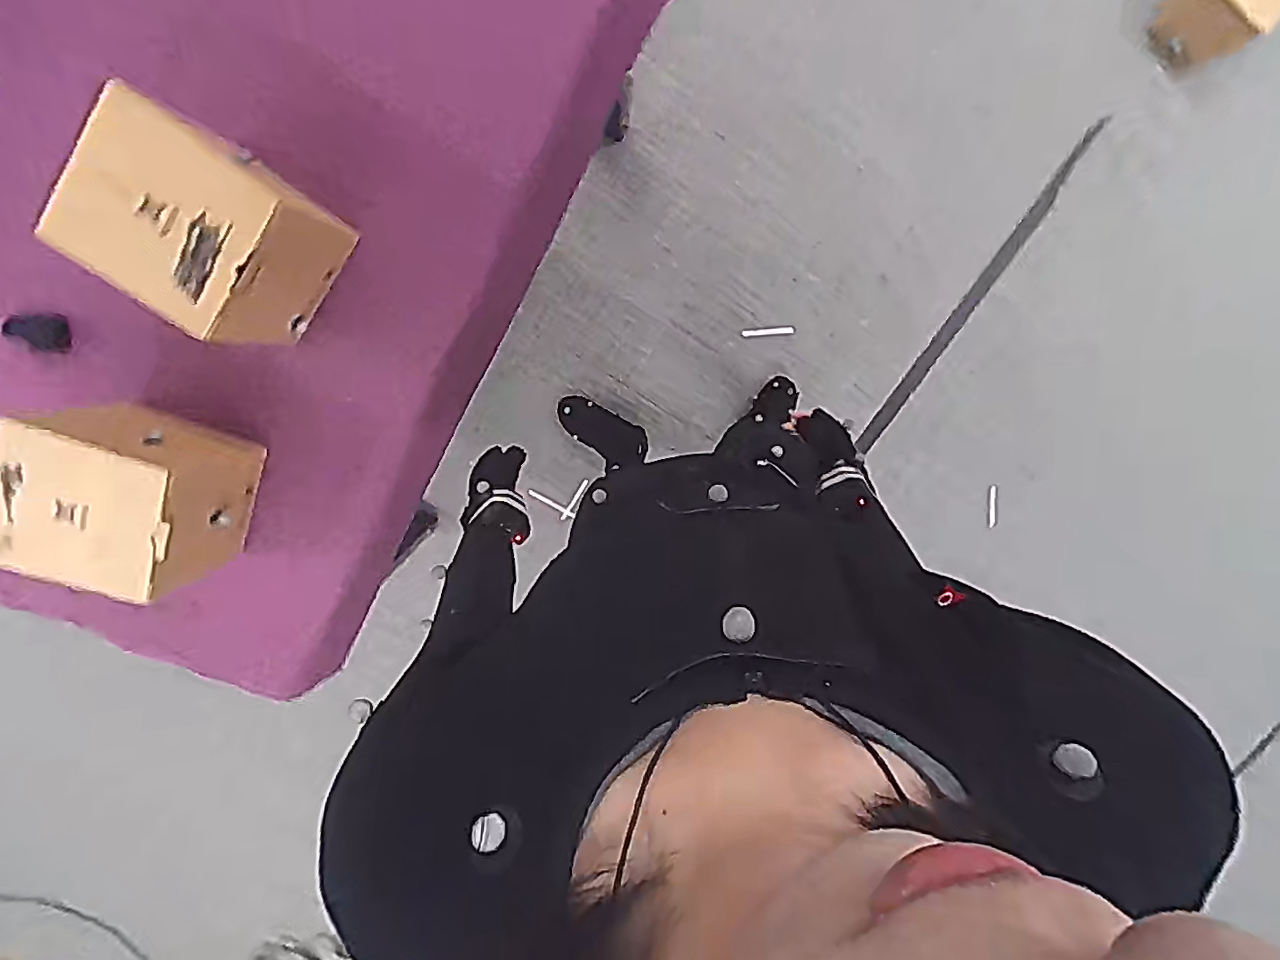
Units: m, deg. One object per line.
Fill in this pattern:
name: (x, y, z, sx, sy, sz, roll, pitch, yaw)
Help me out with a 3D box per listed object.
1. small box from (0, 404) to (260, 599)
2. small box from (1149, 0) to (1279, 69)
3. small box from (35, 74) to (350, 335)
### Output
small box: (-0.606, 0.014, 0.653, 0.179, 0.176, 0.168, 19, 101, -8)
small box: (1.364, -1.122, 1.257, 0.168, 0.176, 0.179, 31, 100, -9)
small box: (-0.464, -0.278, 0.595, 0.179, 0.176, 0.168, 35, 98, -9)
